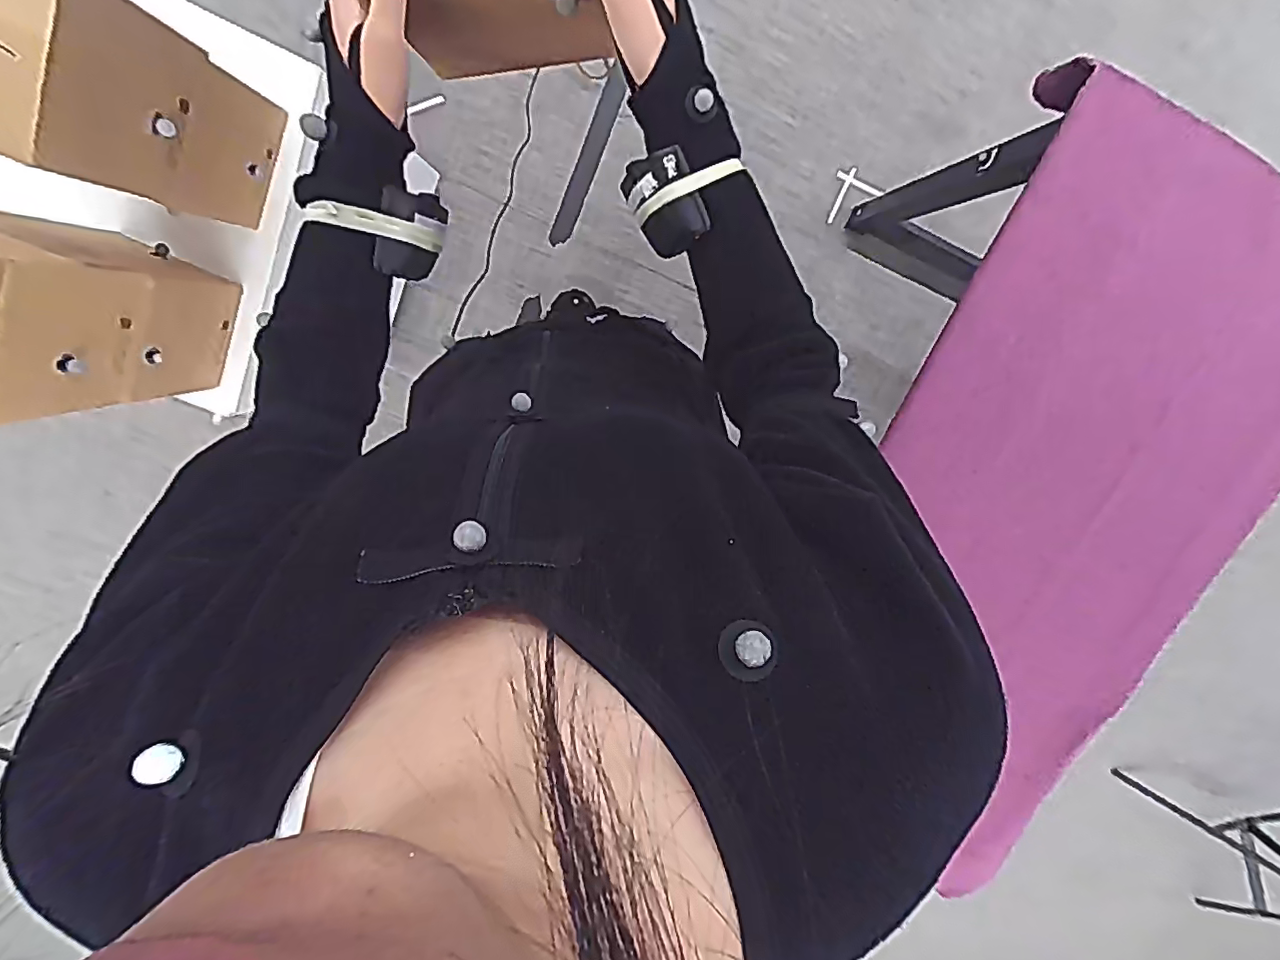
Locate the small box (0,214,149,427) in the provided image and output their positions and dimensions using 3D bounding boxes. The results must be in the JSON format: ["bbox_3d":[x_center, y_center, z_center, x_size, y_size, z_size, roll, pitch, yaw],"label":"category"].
[{"bbox_3d":[-0.665,-0.174,0.553,0.179,0.176,0.168,22,104,-9],"label":"small box"}]

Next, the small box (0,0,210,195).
[{"bbox_3d":[-0.556,-0.390,0.495,0.179,0.176,0.168,24,104,-11],"label":"small box"}]

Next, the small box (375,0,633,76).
[{"bbox_3d":[-0.097,-0.415,0.375,0.179,0.176,0.168,-6,108,2],"label":"small box"}]

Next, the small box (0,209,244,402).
[{"bbox_3d":[-0.677,-0.220,0.708,0.179,0.176,0.168,23,104,-9],"label":"small box"}]
